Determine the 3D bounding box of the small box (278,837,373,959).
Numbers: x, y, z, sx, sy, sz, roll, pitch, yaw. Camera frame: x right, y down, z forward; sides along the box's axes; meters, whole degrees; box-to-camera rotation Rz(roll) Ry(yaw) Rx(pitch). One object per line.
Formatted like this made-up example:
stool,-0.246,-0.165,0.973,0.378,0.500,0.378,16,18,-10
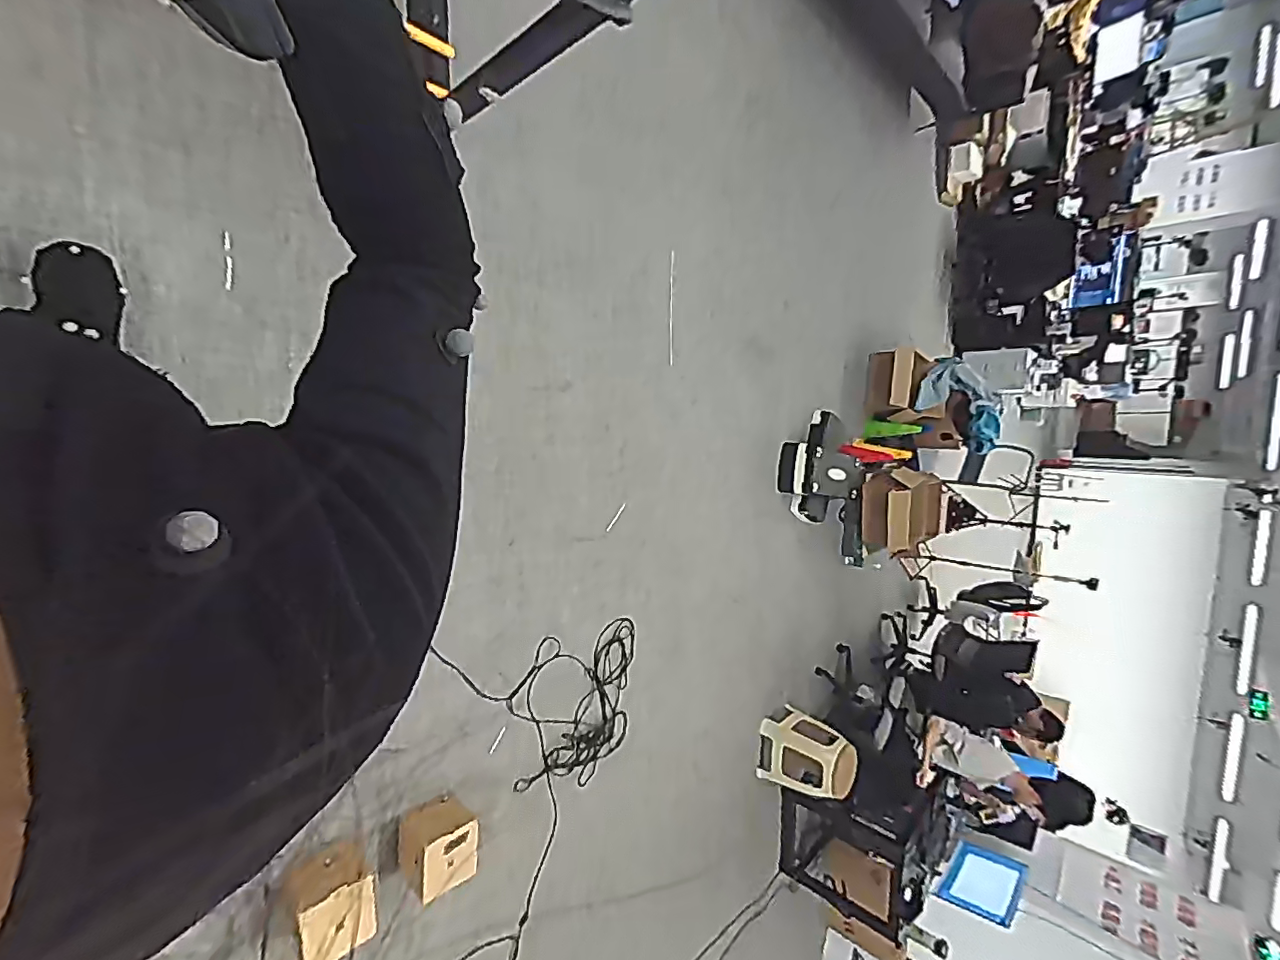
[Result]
small box,-0.804,1.070,1.382,0.168,0.176,0.179,-9,100,-47

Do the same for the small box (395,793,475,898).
small box,-0.606,1.061,1.595,0.168,0.176,0.179,-1,96,-47
